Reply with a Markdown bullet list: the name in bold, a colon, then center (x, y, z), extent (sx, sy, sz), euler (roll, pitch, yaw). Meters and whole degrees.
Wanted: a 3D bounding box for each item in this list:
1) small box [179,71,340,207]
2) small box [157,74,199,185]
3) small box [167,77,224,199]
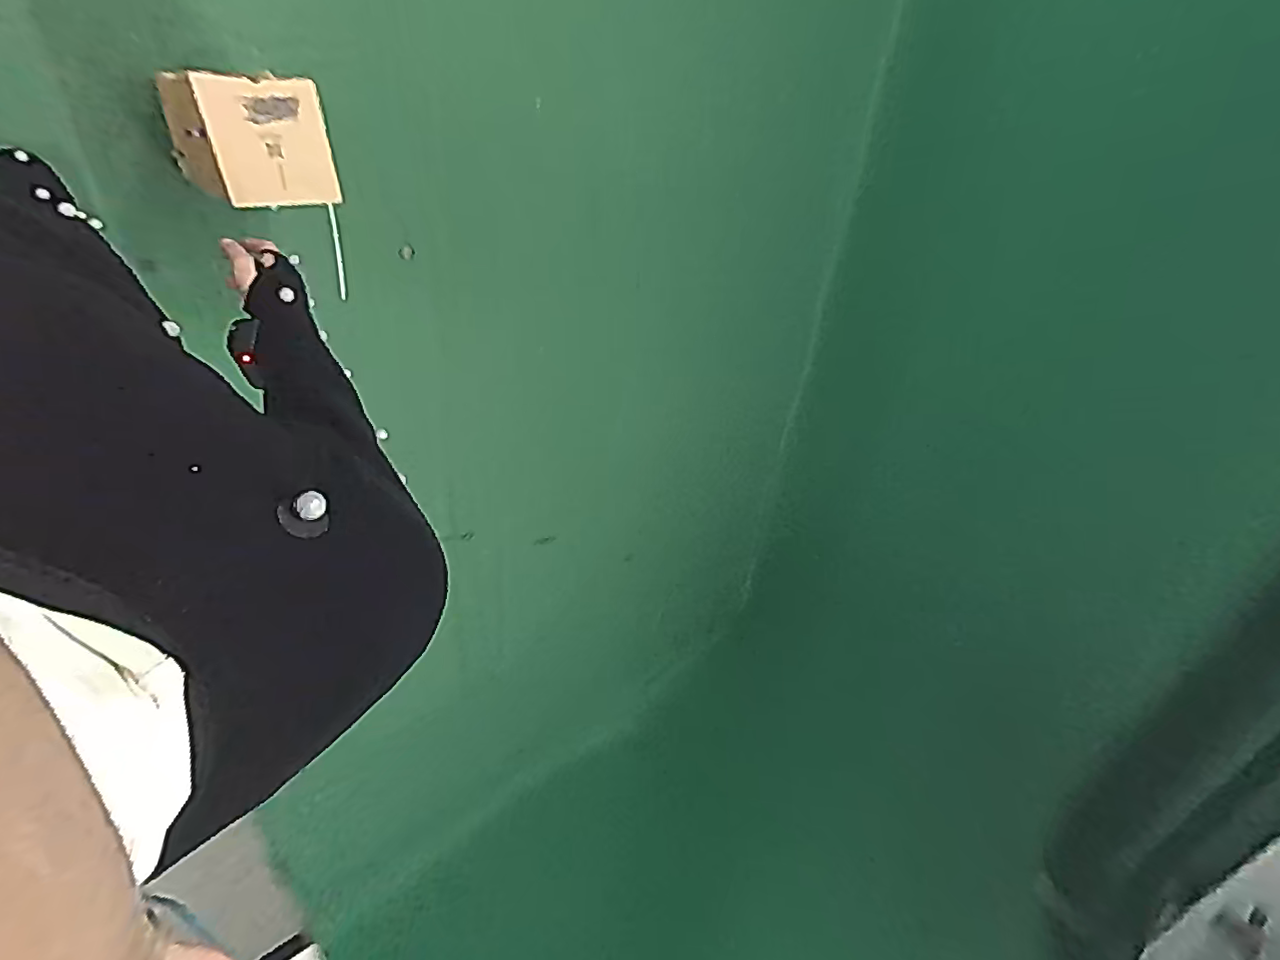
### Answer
- **small box**: center (-0.633, -0.561, 0.902), extent (0.168, 0.176, 0.179), euler (-23, 131, -34)
- **small box**: center (-0.850, -0.703, 1.102), extent (0.168, 0.176, 0.179), euler (-19, 128, -38)
- **small box**: center (-0.742, -0.629, 1.005), extent (0.168, 0.176, 0.179), euler (-22, 129, -36)
